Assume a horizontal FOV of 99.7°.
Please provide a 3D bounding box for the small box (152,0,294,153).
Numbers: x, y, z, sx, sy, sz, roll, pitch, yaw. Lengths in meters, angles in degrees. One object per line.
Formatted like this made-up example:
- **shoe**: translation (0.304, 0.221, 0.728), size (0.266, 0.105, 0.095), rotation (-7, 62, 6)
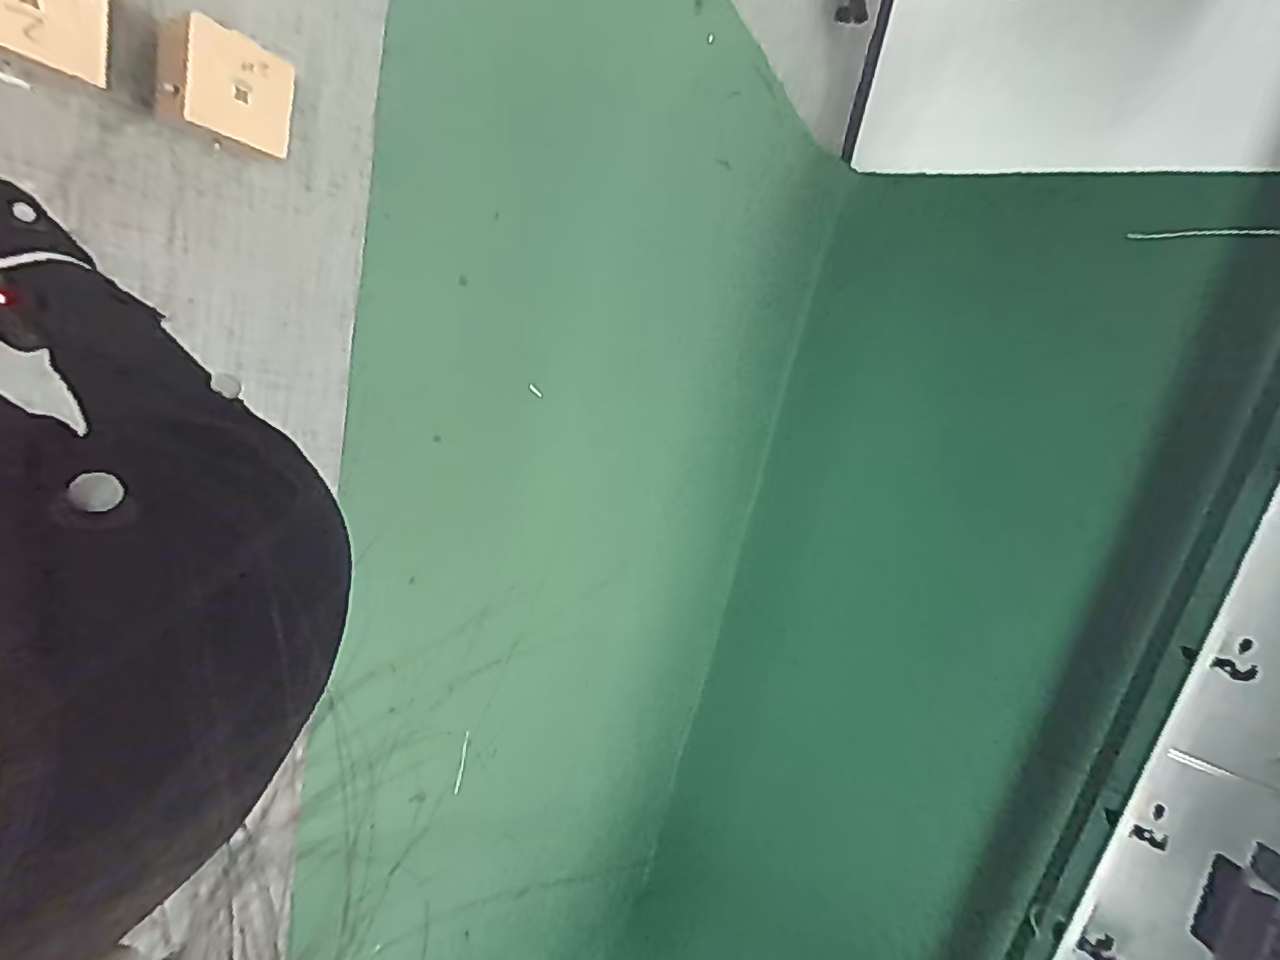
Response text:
- **small box**: translation (-0.792, -0.748, 1.025), size (0.168, 0.176, 0.179), rotation (-4, 110, -57)
